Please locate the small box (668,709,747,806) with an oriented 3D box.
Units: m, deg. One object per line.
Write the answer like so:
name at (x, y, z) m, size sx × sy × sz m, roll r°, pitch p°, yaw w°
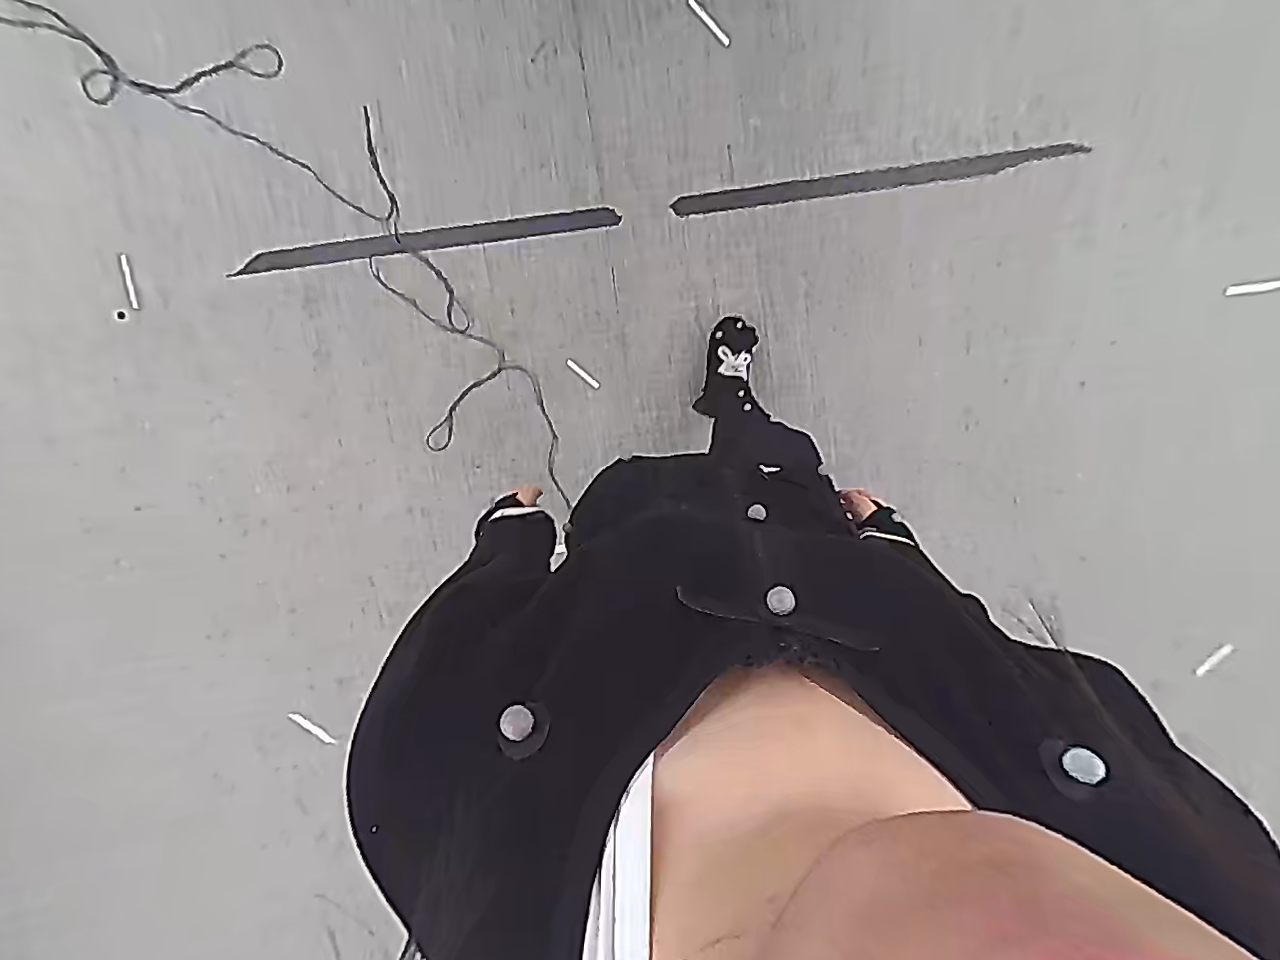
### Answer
small box at (0.178, 0.759, 1.469) m, size 0.168 × 0.176 × 0.179 m, roll -17°, pitch 97°, yaw 2°
